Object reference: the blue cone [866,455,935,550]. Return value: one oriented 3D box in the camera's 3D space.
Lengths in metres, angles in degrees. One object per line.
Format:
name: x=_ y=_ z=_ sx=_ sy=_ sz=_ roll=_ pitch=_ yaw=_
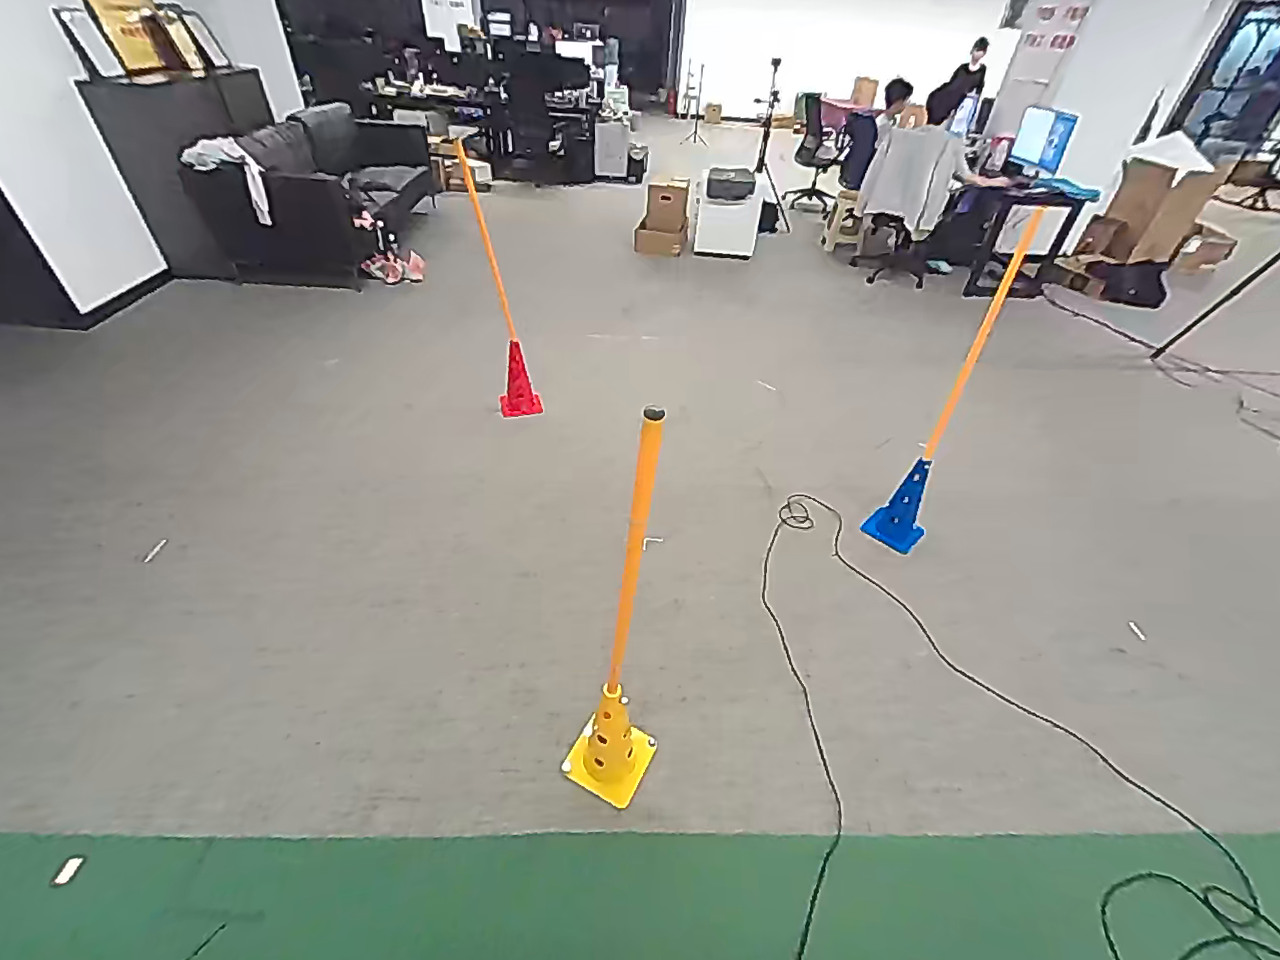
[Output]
blue cone: x=1.038 y=0.064 z=2.090 sx=0.192 sy=0.380 sz=0.193 roll=32 pitch=45 yaw=31
